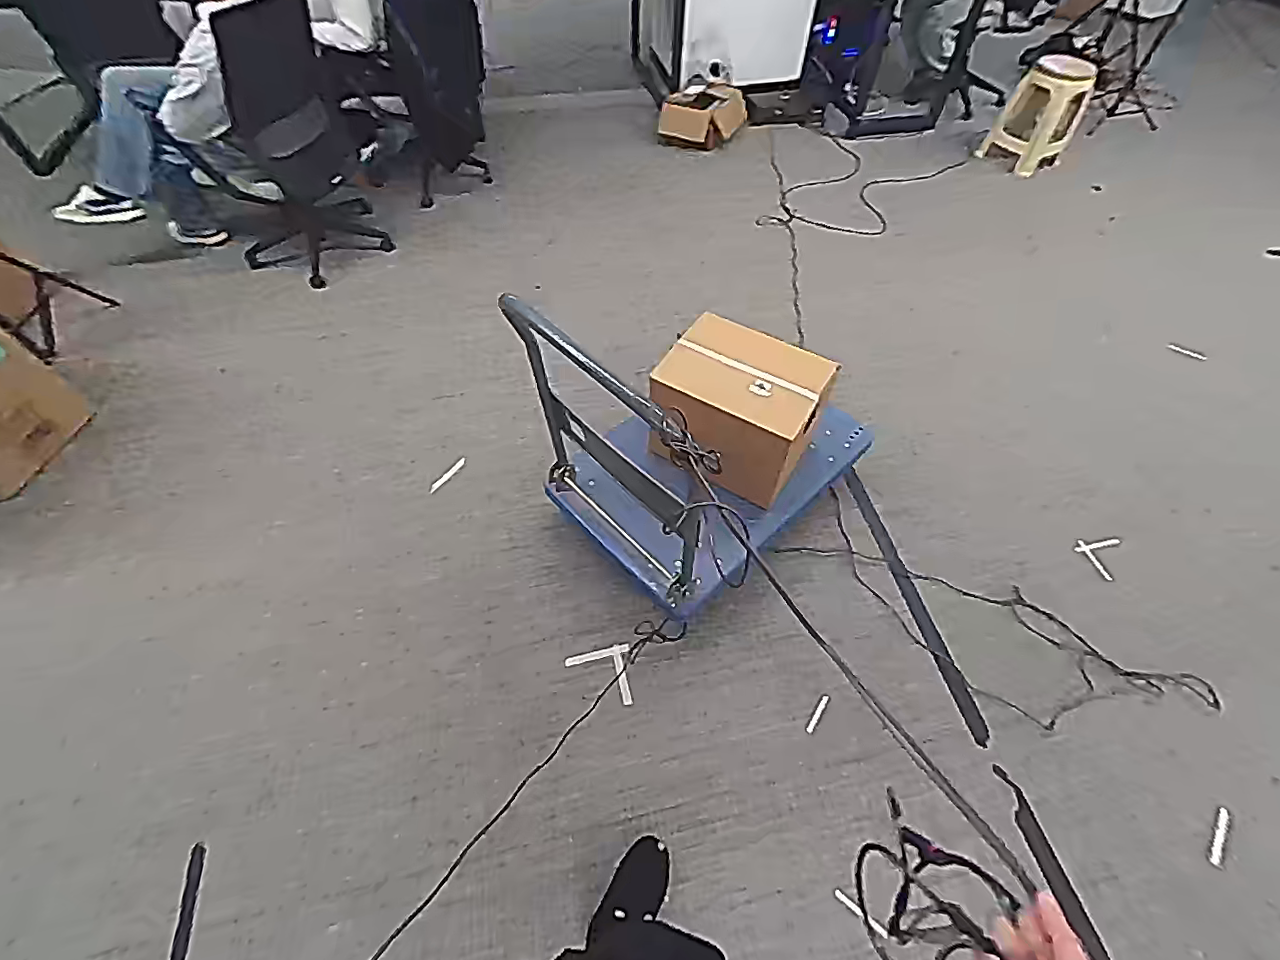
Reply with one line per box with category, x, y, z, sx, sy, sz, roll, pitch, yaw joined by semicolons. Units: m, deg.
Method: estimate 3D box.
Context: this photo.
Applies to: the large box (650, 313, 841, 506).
large box;0.275;-0.196;1.513;0.408;0.320;0.320;28;61;18
